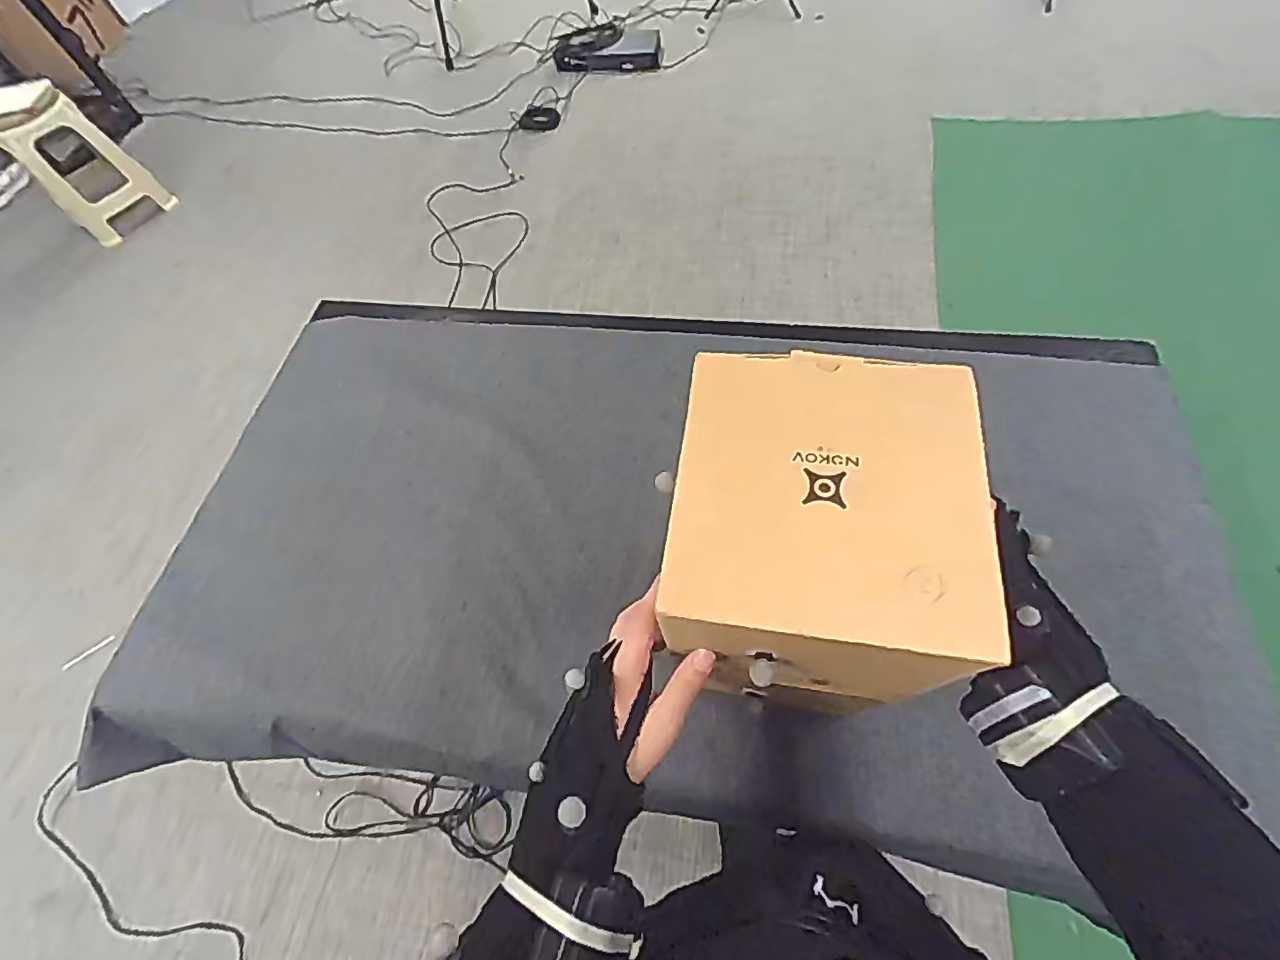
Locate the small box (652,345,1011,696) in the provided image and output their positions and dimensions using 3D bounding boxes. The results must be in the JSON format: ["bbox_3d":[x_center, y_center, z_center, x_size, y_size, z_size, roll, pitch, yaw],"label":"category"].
[{"bbox_3d":[0.111,0.035,0.360,0.168,0.176,0.179,5,62,11],"label":"small box"}]

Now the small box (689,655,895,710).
[{"bbox_3d":[0.135,0.104,0.506,0.168,0.176,0.179,6,64,11],"label":"small box"}]
